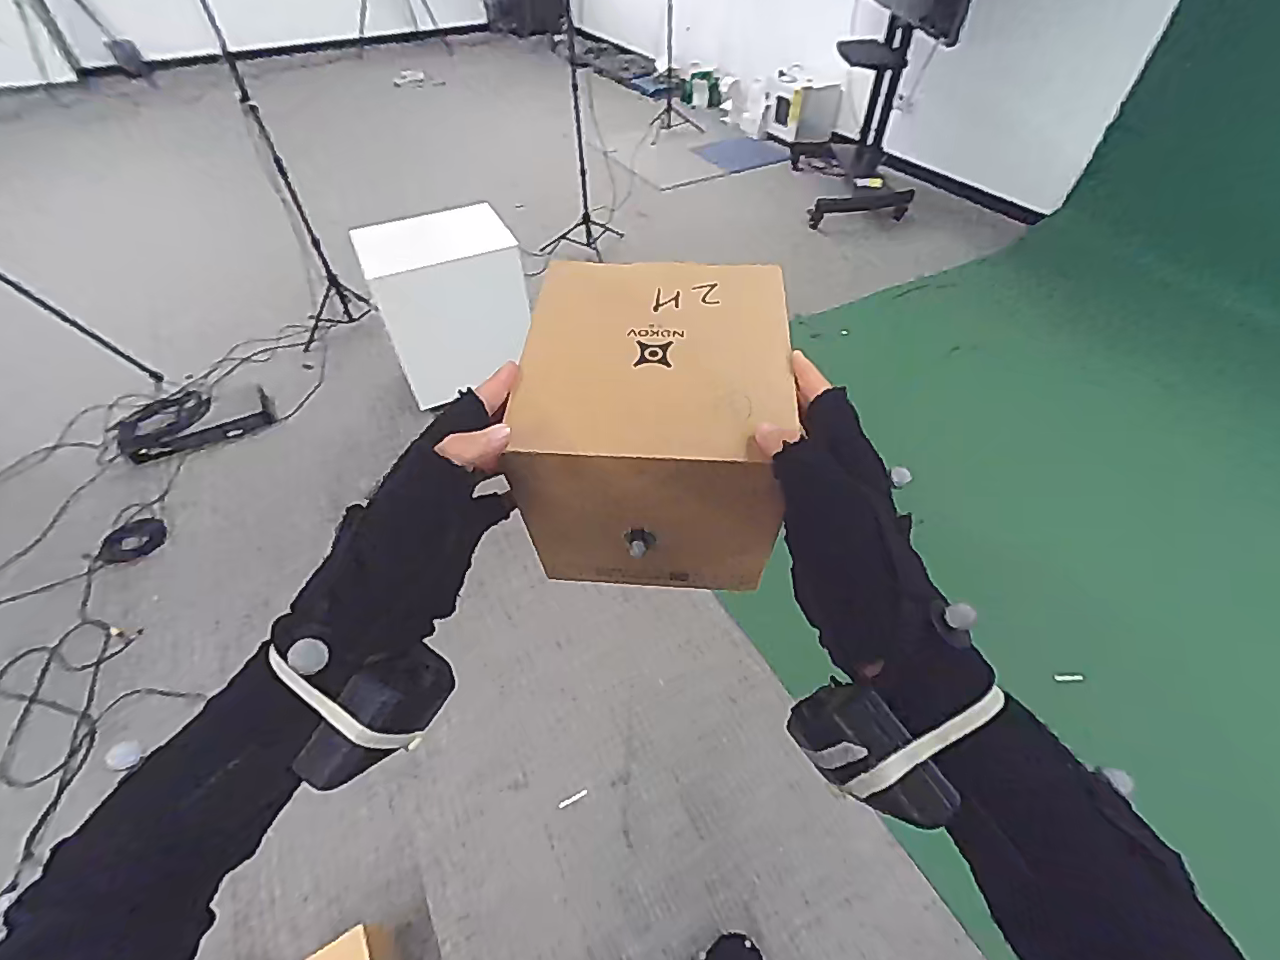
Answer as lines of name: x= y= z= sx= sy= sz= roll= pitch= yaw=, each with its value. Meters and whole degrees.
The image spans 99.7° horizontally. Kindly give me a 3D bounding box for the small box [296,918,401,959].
small box: x=-0.553 y=0.969 z=1.009 sx=0.168 sy=0.176 sz=0.179 roll=-25 pitch=54 yaw=-20
